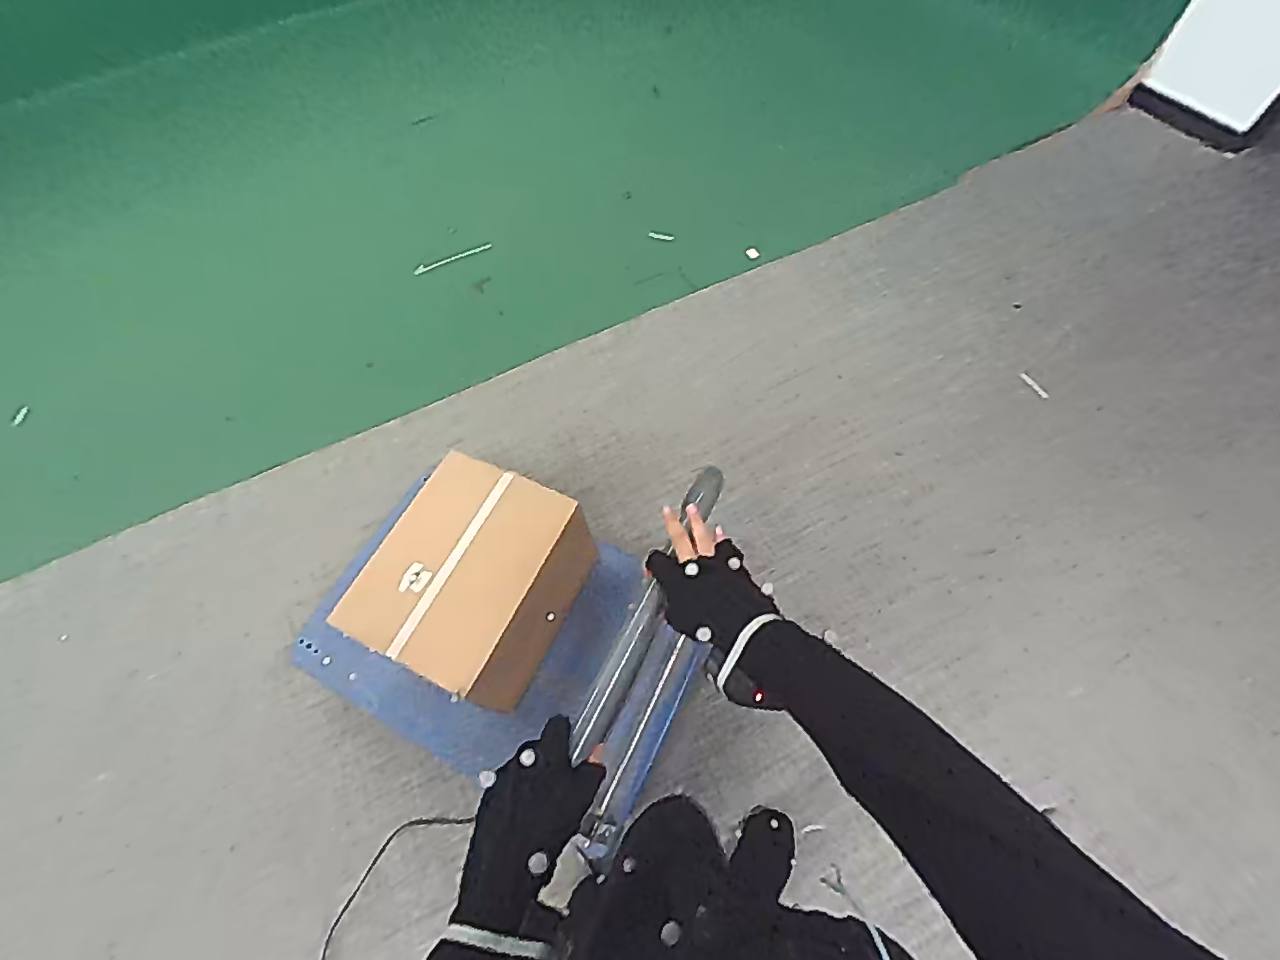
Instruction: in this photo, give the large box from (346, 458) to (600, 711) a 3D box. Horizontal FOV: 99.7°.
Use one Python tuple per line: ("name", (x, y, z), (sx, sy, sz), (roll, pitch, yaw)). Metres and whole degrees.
("large box", (-0.321, 0.231, 1.176), (0.320, 0.320, 0.408), (21, 66, 16))
